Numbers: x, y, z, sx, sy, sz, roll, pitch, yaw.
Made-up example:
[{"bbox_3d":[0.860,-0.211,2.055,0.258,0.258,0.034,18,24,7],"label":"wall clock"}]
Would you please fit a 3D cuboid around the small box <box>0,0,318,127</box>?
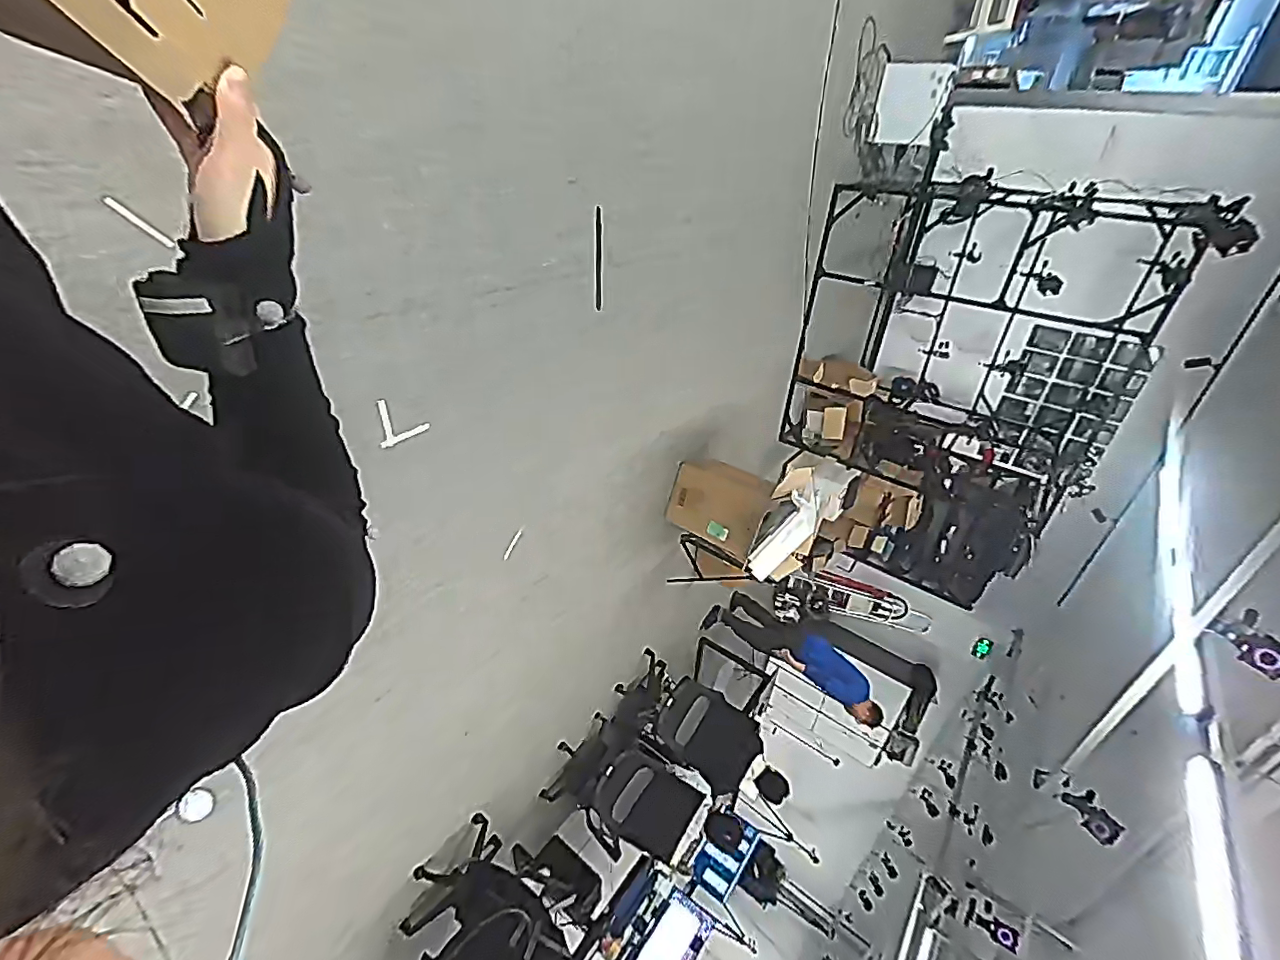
[{"bbox_3d":[-0.280,-0.326,0.256,0.168,0.176,0.179,89,21,-88],"label":"small box"}]
